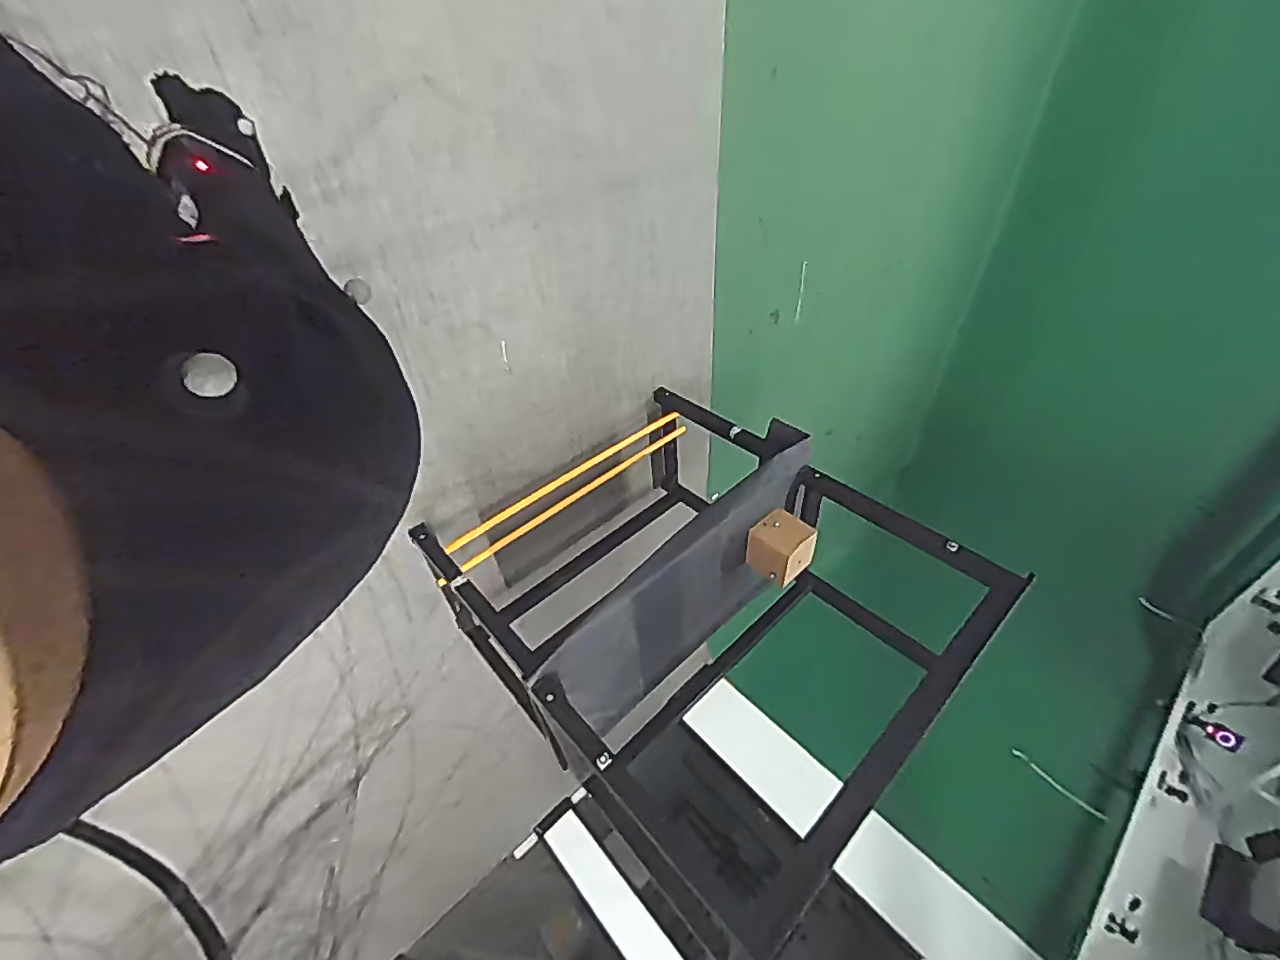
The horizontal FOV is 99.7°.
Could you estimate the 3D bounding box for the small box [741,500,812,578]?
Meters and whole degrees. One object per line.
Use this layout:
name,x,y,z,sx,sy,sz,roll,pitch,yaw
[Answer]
small box,0.471,0.202,1.894,0.168,0.176,0.179,-33,141,-28
